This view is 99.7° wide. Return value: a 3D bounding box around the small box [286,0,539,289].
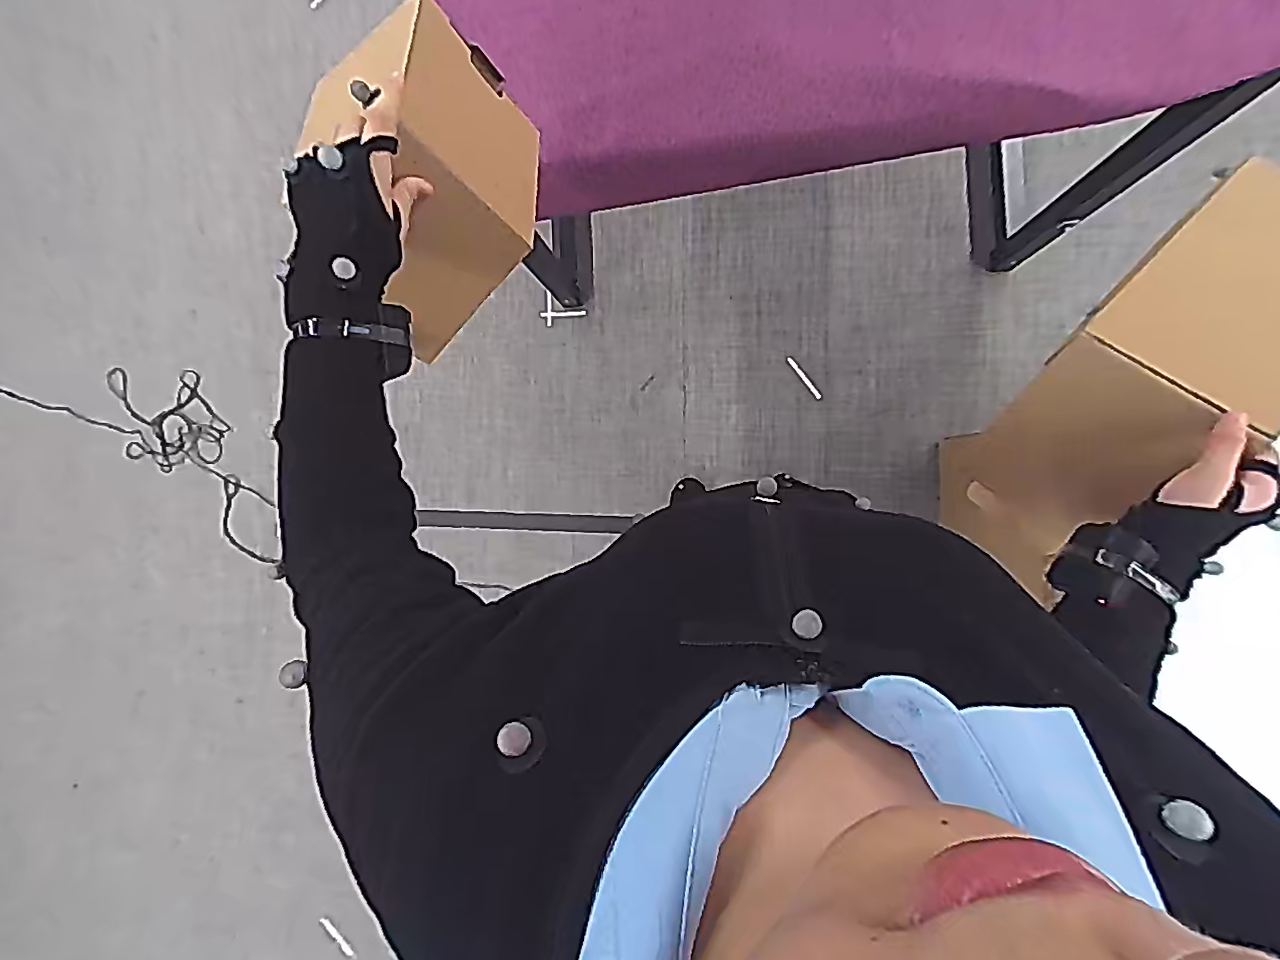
[{"bbox_3d":[-0.226,-0.333,0.558,0.176,0.168,0.179,-13,65,26],"label":"small box"}]
